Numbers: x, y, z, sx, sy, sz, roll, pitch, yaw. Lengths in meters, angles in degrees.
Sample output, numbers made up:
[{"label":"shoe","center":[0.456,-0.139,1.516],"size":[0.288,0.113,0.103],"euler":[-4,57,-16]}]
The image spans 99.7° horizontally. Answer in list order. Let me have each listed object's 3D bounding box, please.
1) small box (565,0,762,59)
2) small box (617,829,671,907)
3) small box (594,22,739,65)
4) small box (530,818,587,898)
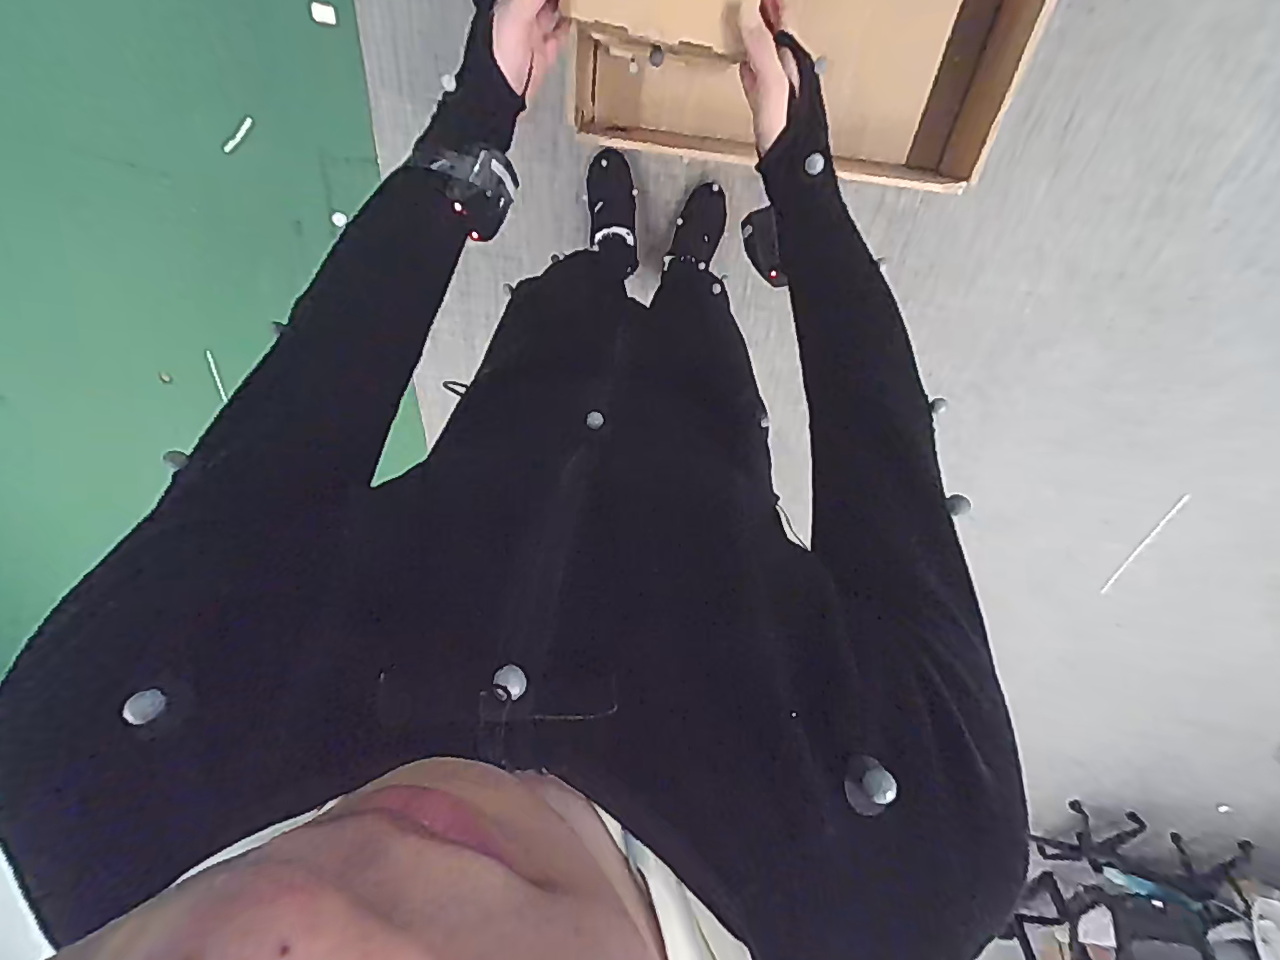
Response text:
[{"label":"small box","center":[0.035,-0.494,0.469],"size":[0.168,0.176,0.179],"euler":[11,126,-2]},{"label":"small box","center":[0.014,1.304,1.820],"size":[0.168,0.176,0.179],"euler":[6,127,1]},{"label":"small box","center":[0.047,-0.589,0.603],"size":[0.168,0.176,0.179],"euler":[9,126,-1]},{"label":"small box","center":[-0.269,1.272,1.821],"size":[0.168,0.176,0.179],"euler":[4,126,0]}]
